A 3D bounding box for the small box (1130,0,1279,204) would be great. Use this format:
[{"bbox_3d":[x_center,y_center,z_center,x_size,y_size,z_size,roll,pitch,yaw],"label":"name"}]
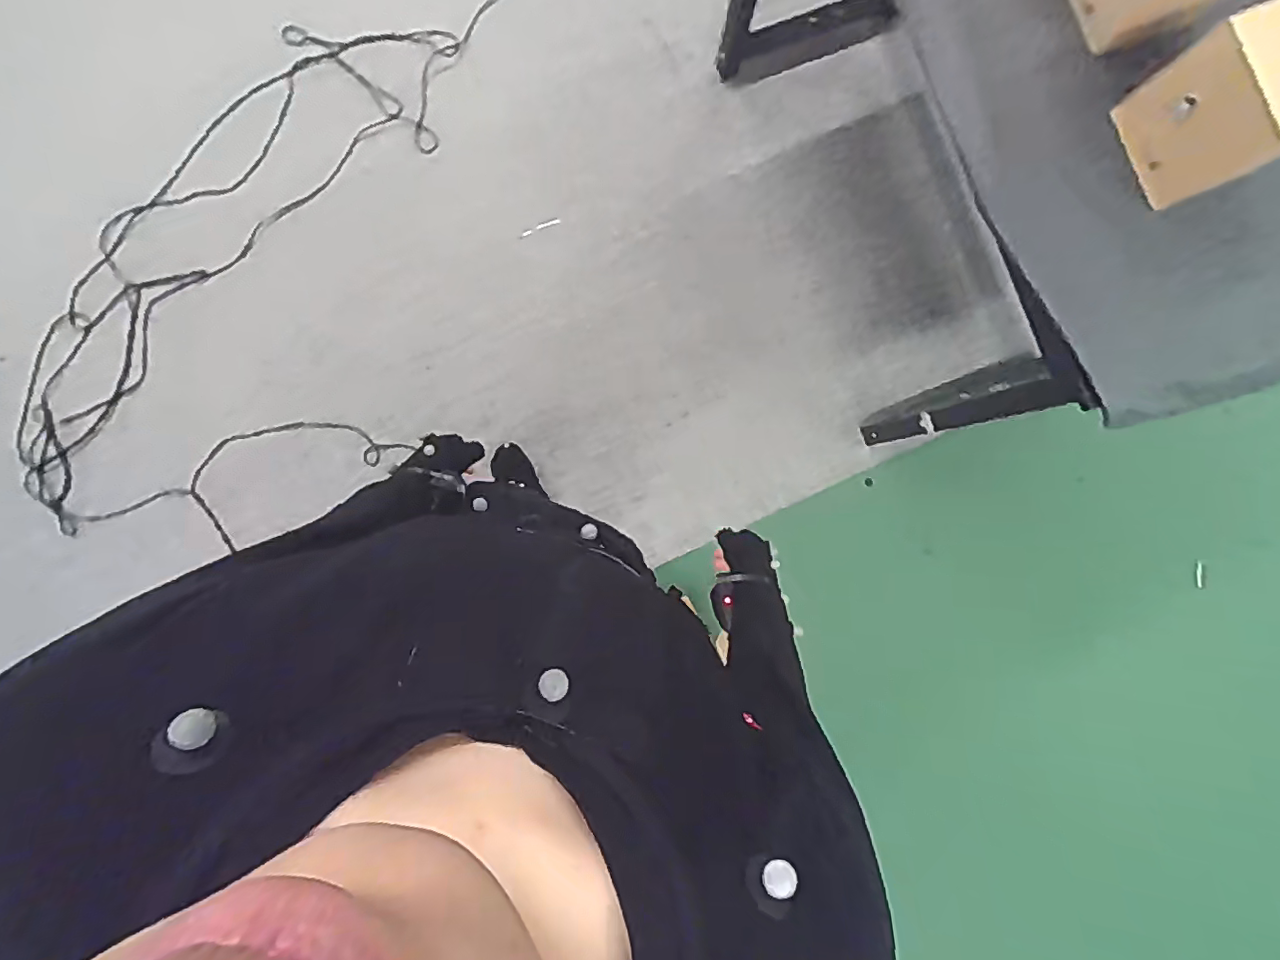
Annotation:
[{"bbox_3d":[0.822,-0.511,0.729,0.179,0.176,0.168,-23,90,-3],"label":"small box"}]
